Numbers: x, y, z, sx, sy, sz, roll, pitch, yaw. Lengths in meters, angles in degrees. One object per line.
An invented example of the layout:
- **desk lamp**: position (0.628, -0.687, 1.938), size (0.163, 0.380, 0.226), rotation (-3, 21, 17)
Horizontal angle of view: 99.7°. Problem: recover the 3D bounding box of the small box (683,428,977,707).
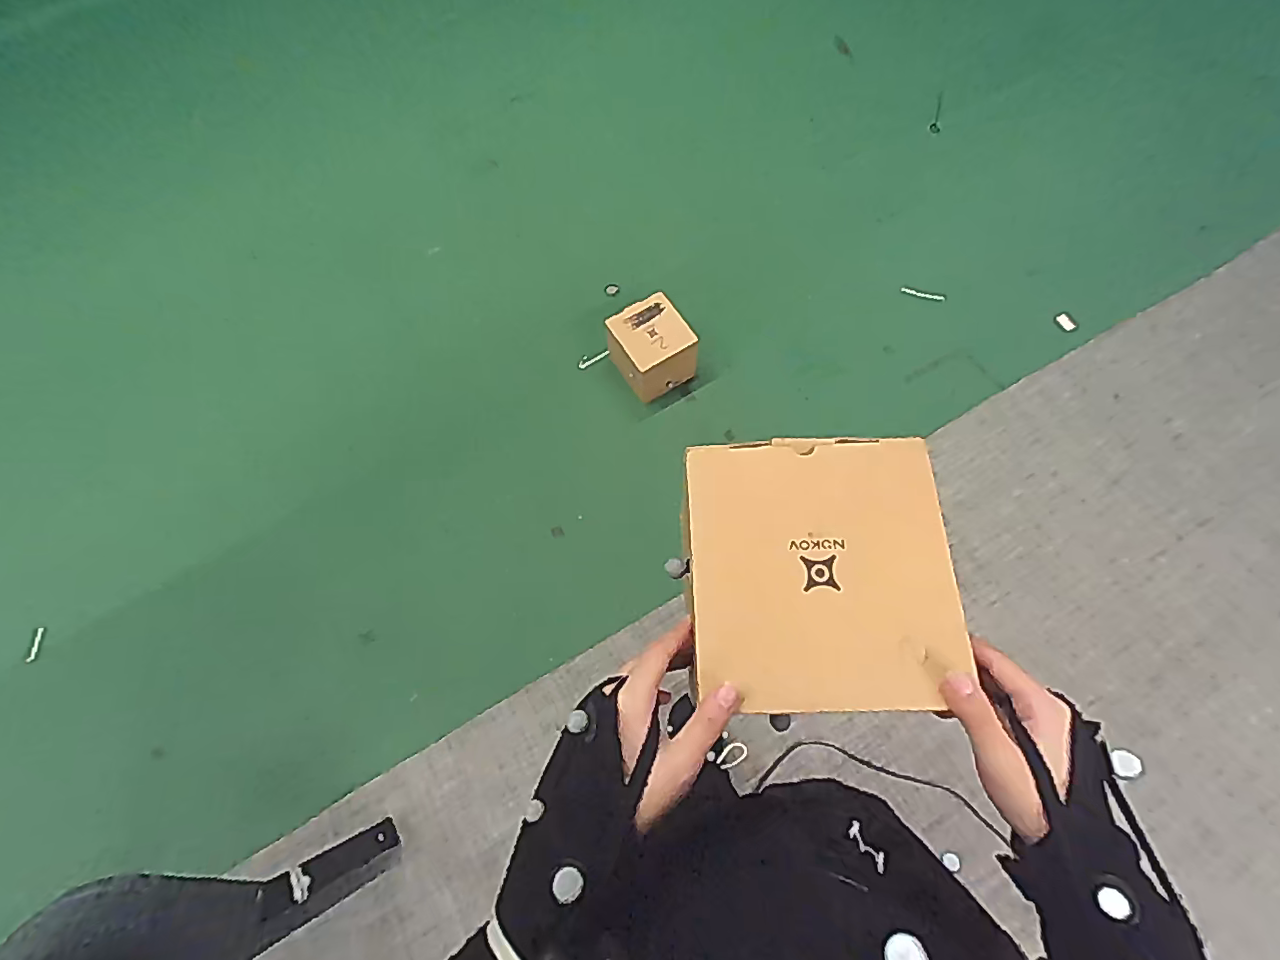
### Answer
- **small box**: position (0.119, 0.075, 0.419), size (0.168, 0.176, 0.179), rotation (-2, 70, 3)
